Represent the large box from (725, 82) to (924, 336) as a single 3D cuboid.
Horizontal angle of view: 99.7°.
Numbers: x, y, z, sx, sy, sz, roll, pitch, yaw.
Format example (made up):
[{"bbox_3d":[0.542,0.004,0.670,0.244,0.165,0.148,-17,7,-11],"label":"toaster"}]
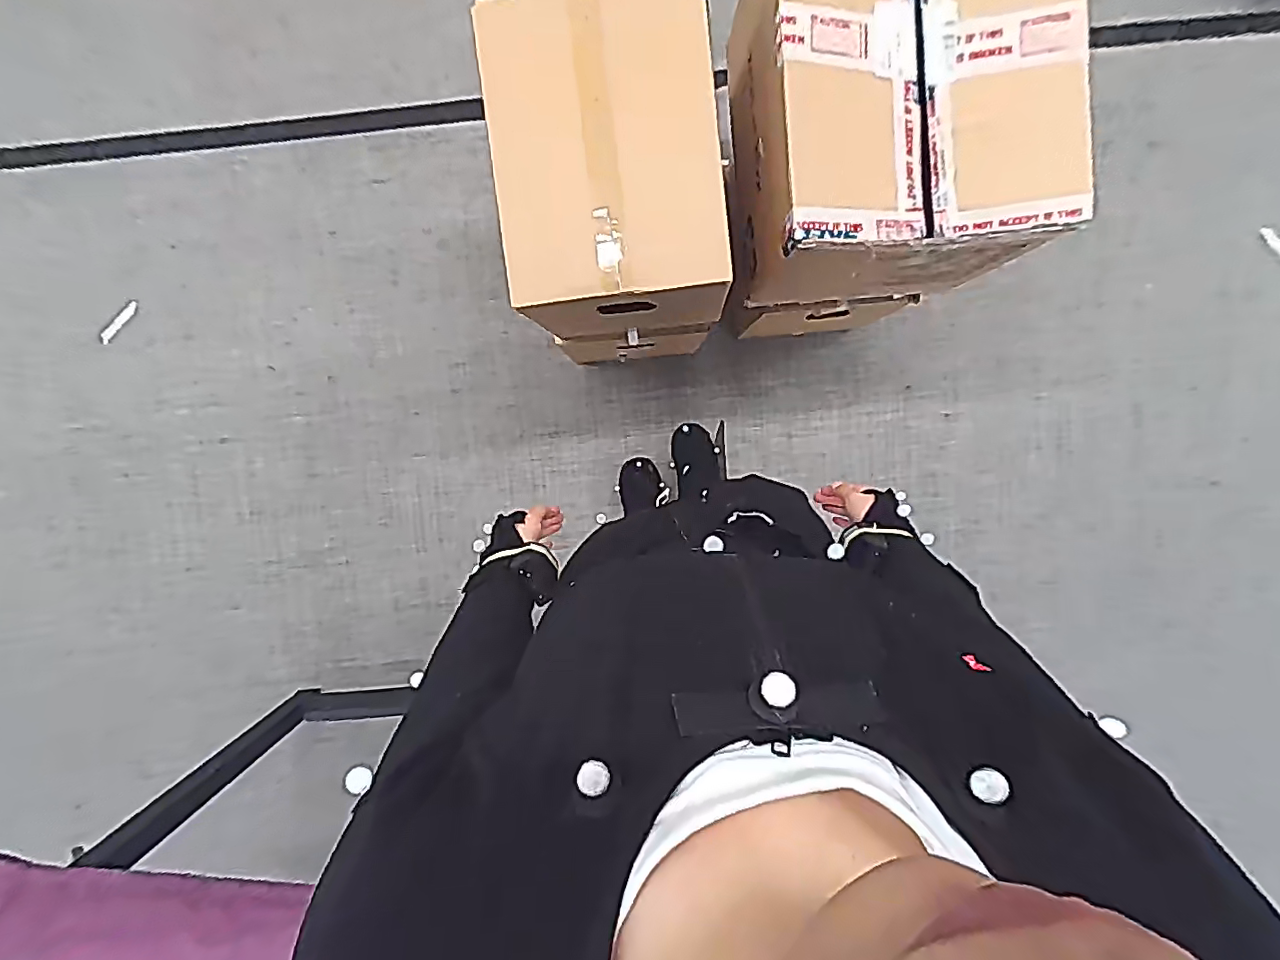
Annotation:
[{"bbox_3d":[0.381,-0.555,1.185,0.320,0.320,0.408,-6,96,1],"label":"large box"}]
